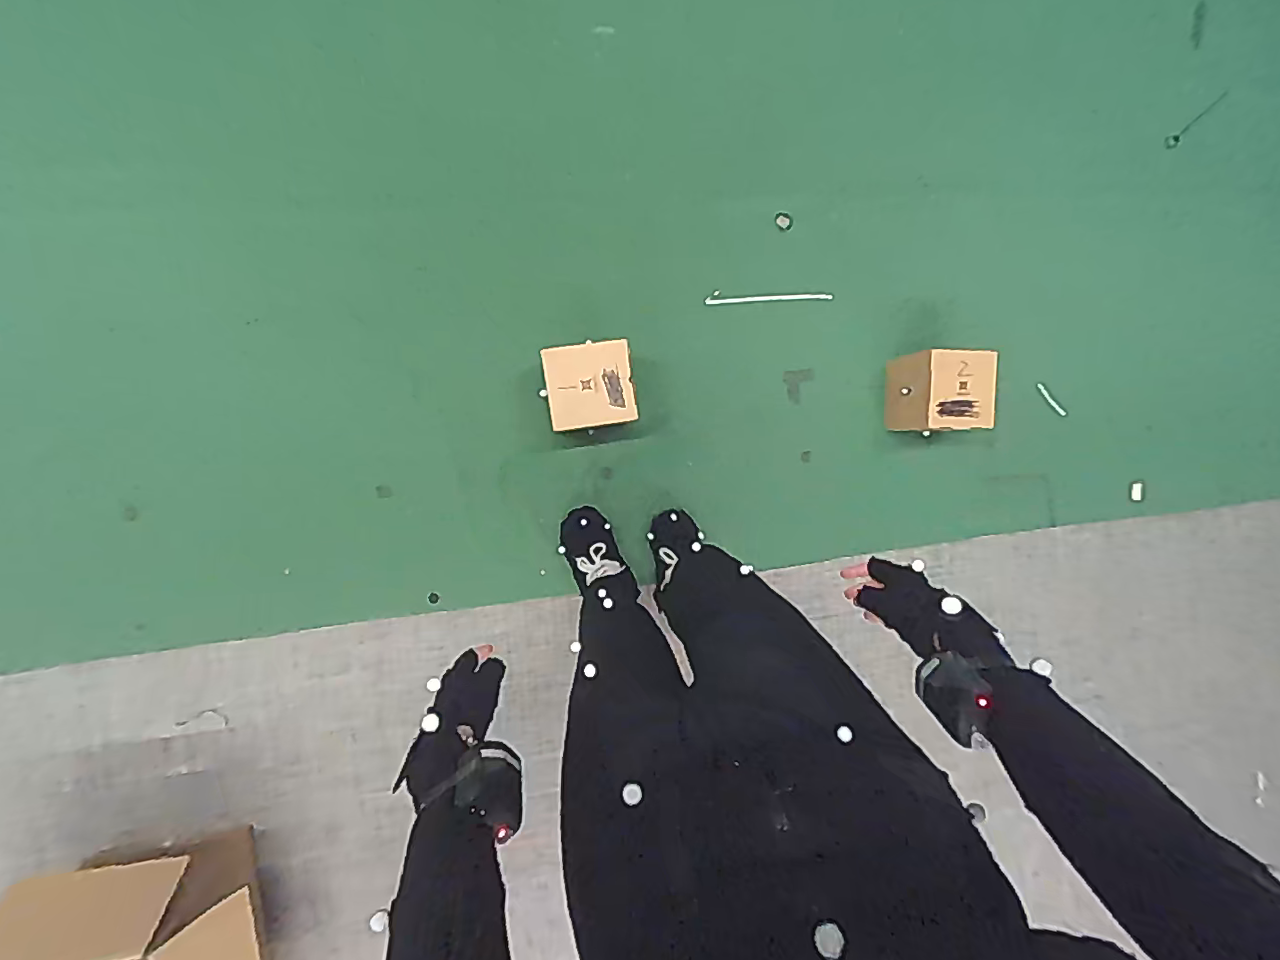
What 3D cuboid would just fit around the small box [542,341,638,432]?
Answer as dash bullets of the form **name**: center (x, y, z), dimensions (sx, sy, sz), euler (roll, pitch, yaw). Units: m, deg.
- **small box**: center (-0.110, -0.194, 1.154), dimensions (0.179, 0.176, 0.168), euler (-9, 95, -7)
